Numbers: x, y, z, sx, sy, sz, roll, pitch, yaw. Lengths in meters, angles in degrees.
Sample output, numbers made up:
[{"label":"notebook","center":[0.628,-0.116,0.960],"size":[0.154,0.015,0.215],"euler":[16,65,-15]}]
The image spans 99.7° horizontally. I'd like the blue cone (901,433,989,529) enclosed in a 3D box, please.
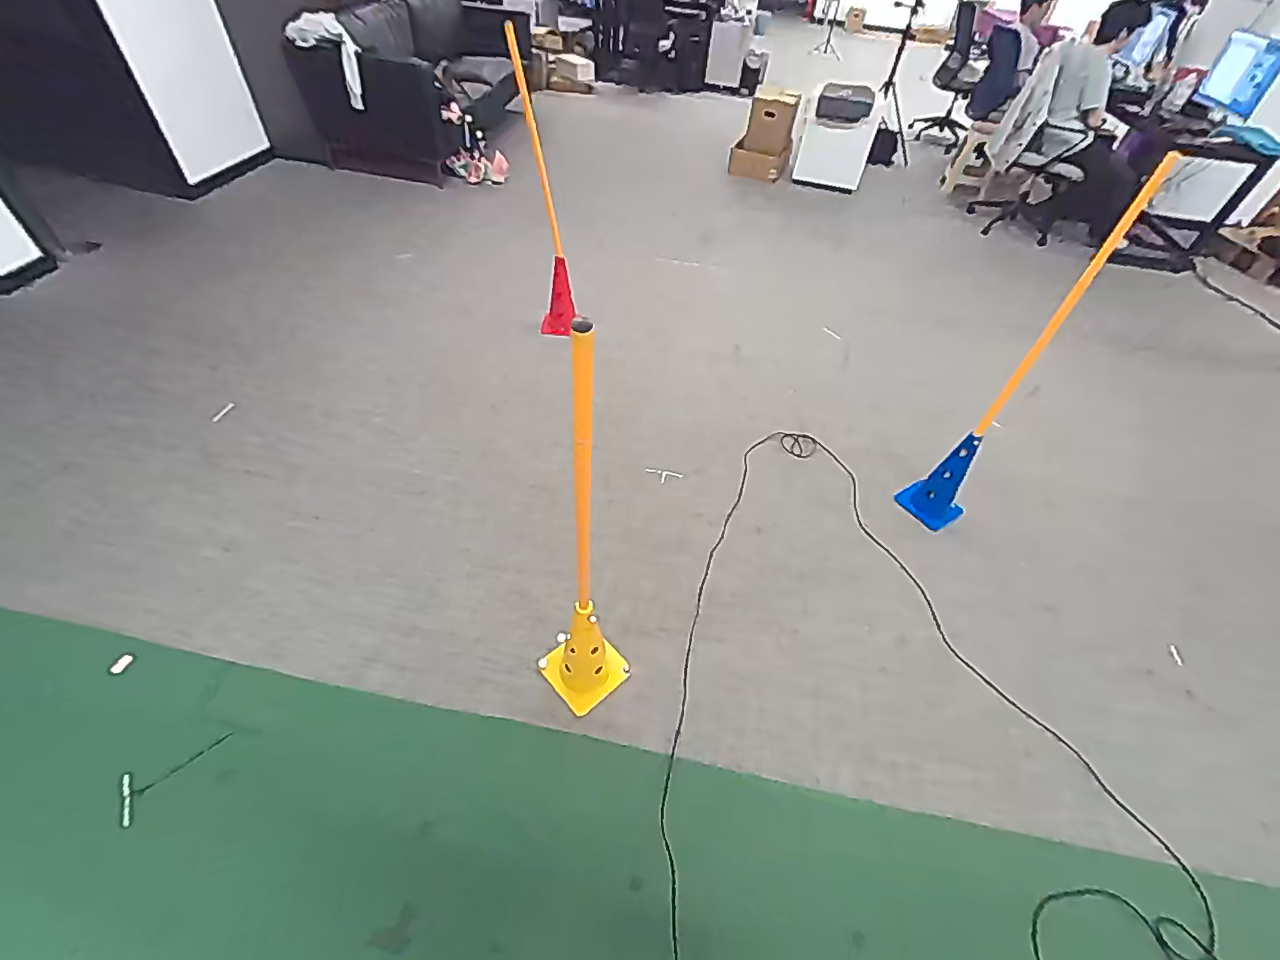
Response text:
[{"label":"blue cone","center":[1.121,-0.021,1.935],"size":[0.193,0.380,0.192],"euler":[-24,53,-28]}]
